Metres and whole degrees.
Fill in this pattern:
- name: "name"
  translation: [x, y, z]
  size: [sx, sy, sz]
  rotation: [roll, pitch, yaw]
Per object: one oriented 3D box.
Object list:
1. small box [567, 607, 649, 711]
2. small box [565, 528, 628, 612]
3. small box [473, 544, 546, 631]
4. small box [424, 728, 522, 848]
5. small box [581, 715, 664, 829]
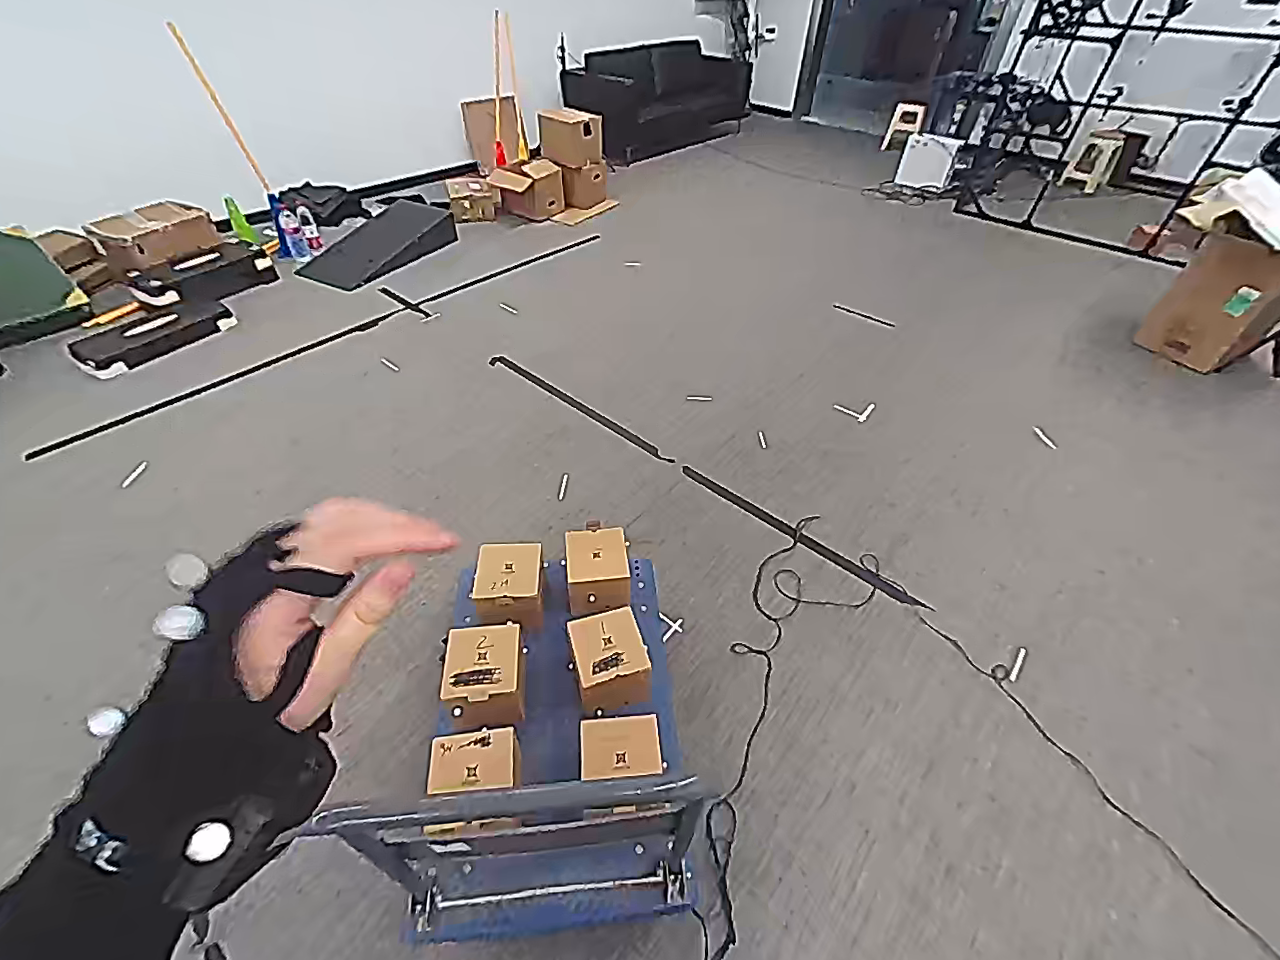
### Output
- name: "small box"
  translation: [-0.080, 0.450, 1.340]
  size: [0.168, 0.176, 0.179]
  rotation: [-11, 45, -14]
- name: "small box"
  translation: [-0.123, 0.261, 1.532]
  size: [0.168, 0.176, 0.179]
  rotation: [-4, 45, -8]
- name: "small box"
  translation: [-0.350, 0.294, 1.481]
  size: [0.168, 0.176, 0.179]
  rotation: [-1, 45, -4]
- name: "small box"
  translation: [-0.338, 0.644, 1.125]
  size: [0.168, 0.176, 0.179]
  rotation: [-4, 45, -9]
- name: "small box"
  translation: [-0.042, 0.629, 1.159]
  size: [0.168, 0.176, 0.179]
  rotation: [-2, 44, -6]
